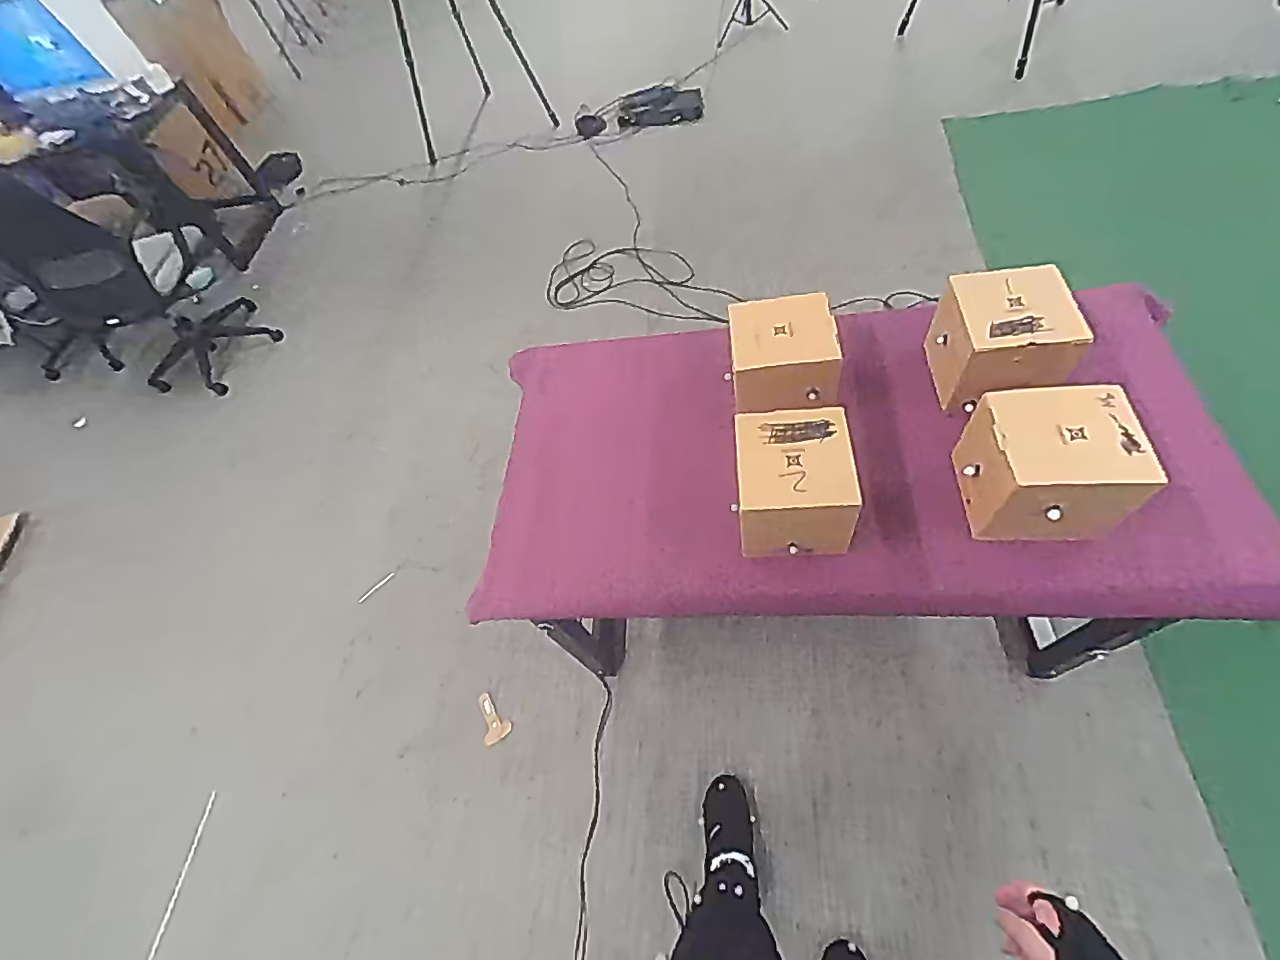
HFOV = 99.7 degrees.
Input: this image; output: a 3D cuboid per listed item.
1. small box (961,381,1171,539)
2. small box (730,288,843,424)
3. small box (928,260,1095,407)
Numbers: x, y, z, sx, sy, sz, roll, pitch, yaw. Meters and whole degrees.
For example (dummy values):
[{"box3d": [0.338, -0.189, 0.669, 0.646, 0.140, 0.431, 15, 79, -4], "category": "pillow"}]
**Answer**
[{"box3d": [0.591, -0.022, 0.786, 0.179, 0.176, 0.168, -2, 58, 13], "category": "small box"}, {"box3d": [0.257, -0.218, 0.983, 0.179, 0.176, 0.168, -5, 58, 11], "category": "small box"}, {"box3d": [0.610, -0.237, 0.914, 0.168, 0.176, 0.179, -3, 58, 11], "category": "small box"}]
